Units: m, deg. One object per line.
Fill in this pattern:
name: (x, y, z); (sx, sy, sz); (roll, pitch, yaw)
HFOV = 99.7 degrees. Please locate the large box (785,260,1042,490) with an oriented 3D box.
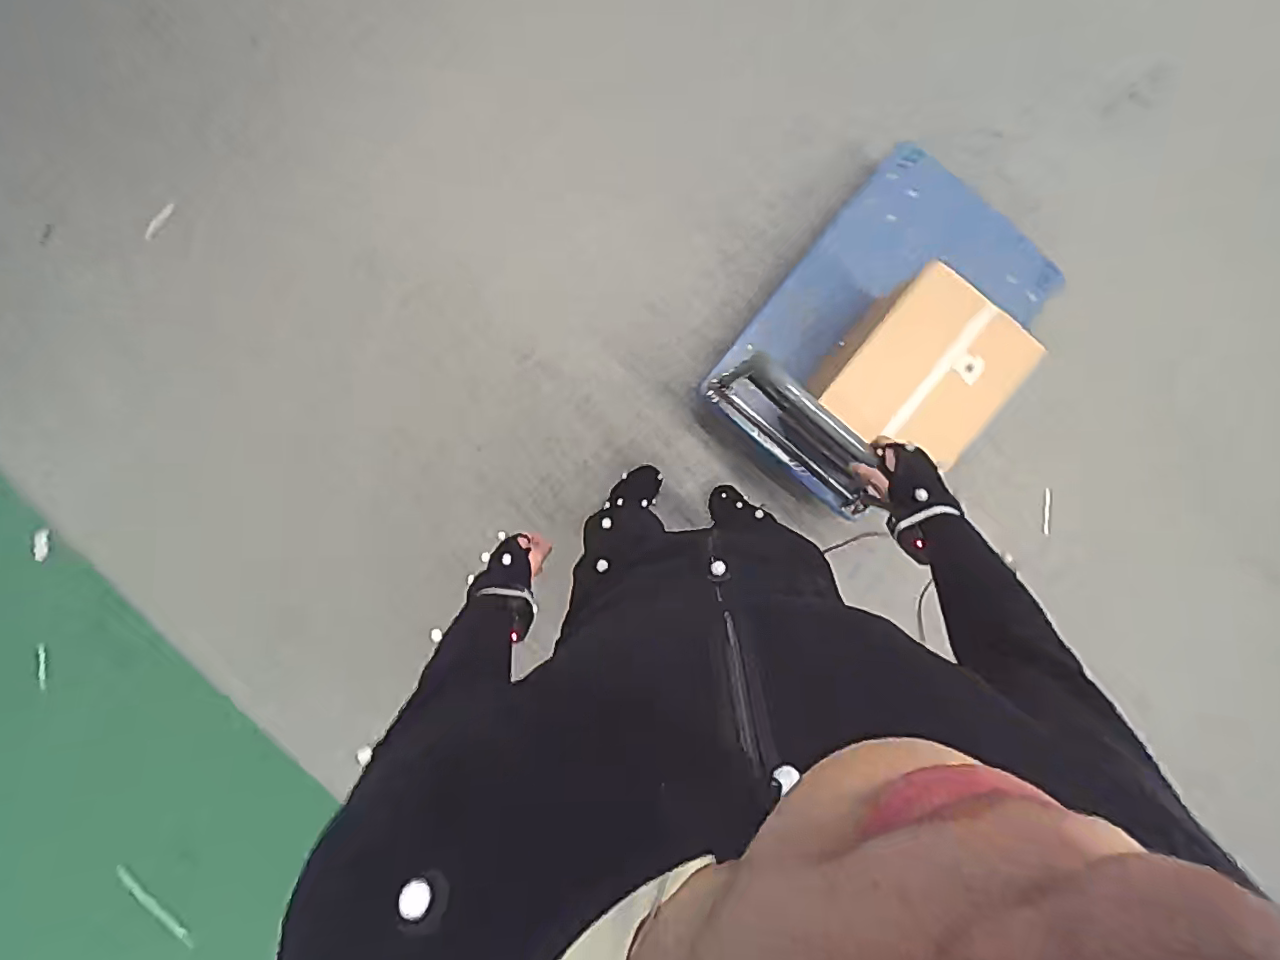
large box: (0.623, -0.226, 1.306); (0.320, 0.320, 0.408); (40, 92, -2)
